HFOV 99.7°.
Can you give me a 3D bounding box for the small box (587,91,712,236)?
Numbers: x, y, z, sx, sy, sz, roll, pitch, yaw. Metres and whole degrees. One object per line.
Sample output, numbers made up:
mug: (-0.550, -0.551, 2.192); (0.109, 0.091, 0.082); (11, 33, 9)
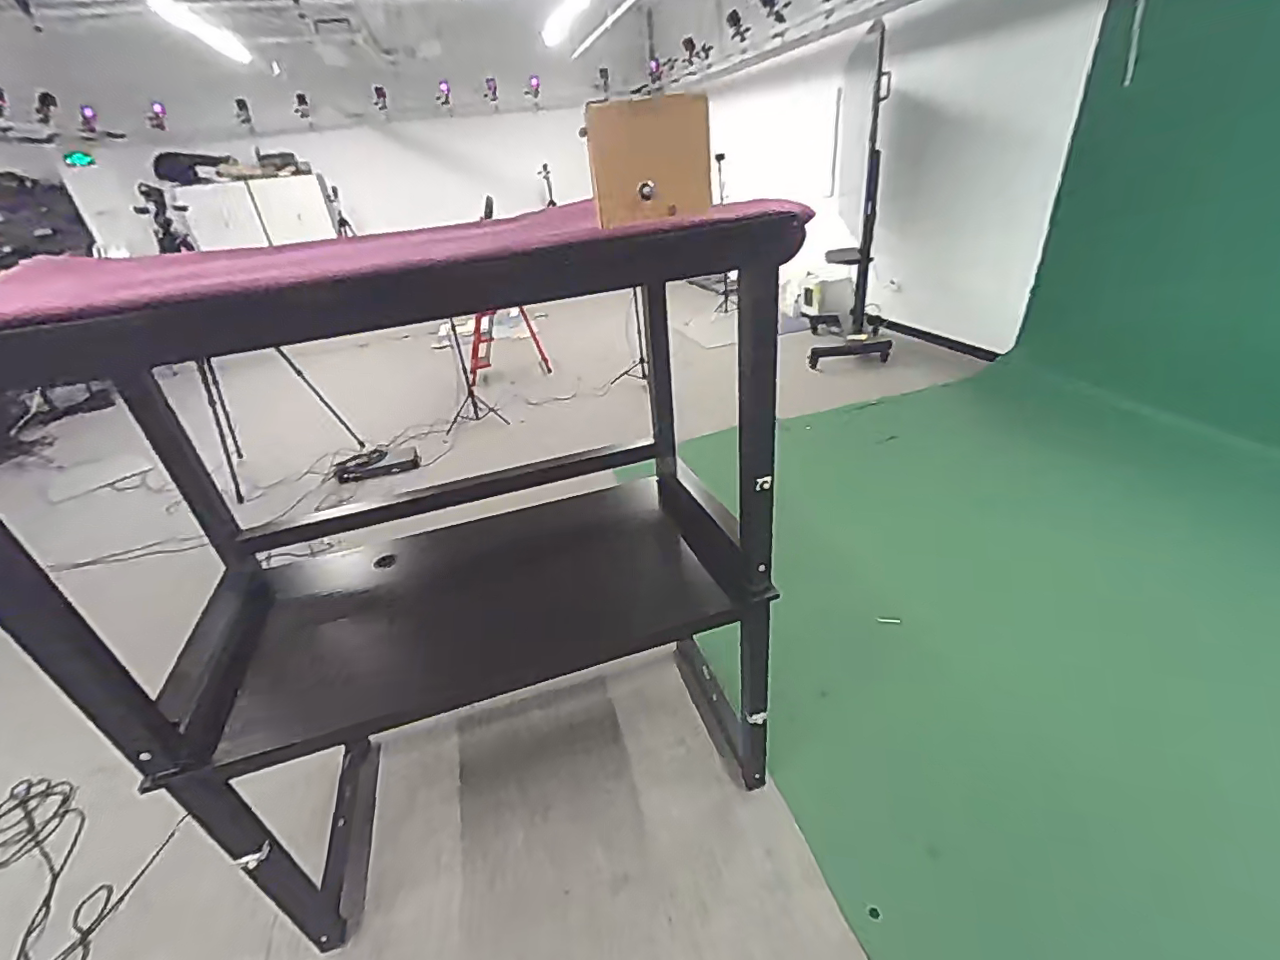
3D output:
small box: (0.011, -0.475, 0.822); (0.168, 0.176, 0.179); (-8, 32, -3)
